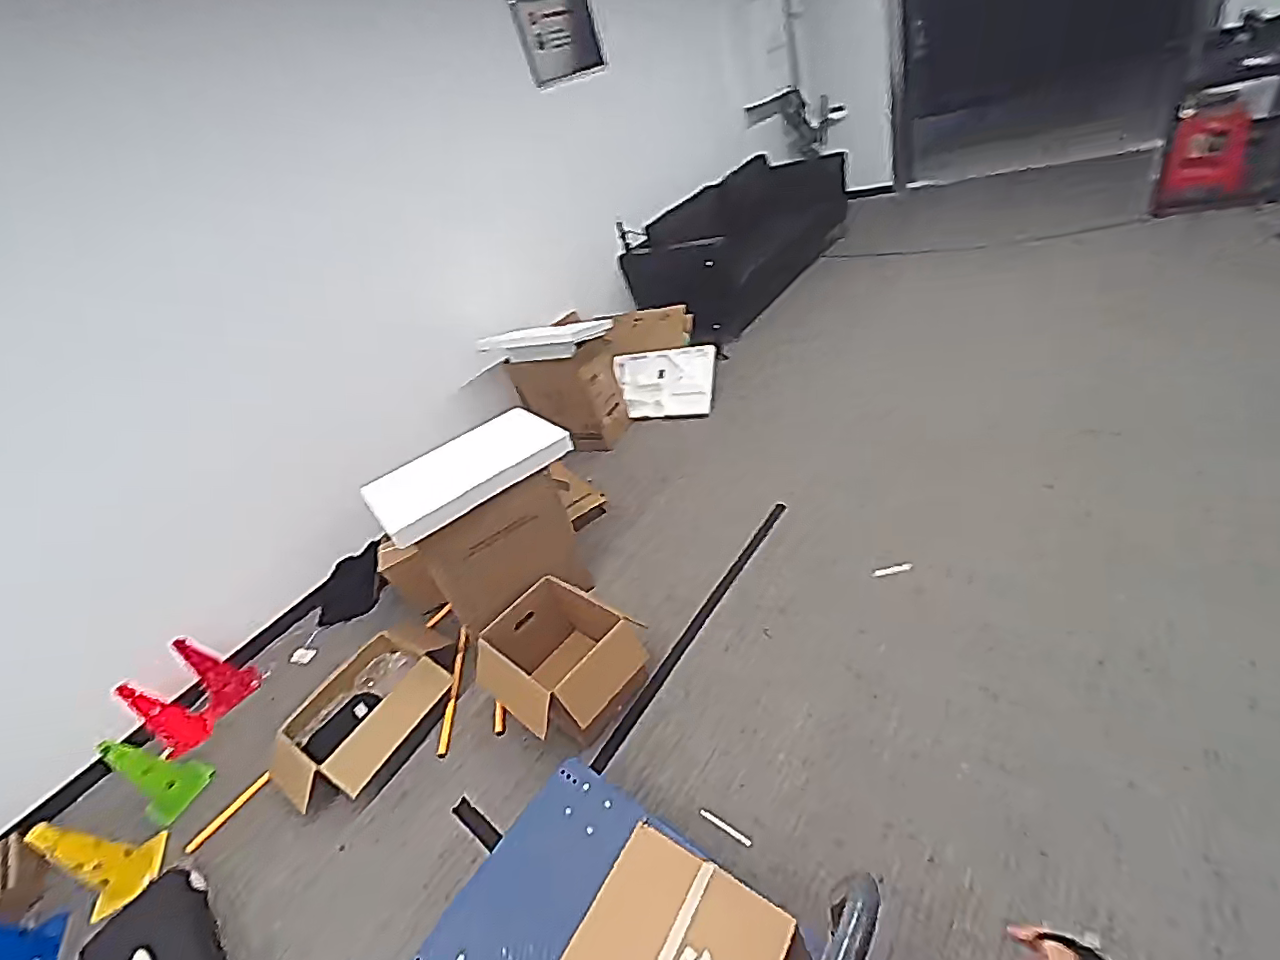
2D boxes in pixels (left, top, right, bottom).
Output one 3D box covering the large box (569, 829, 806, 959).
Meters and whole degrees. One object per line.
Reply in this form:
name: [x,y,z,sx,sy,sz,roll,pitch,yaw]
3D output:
large box: [0.058,0.911,0.890,0.320,0.320,0.408,9,41,36]
